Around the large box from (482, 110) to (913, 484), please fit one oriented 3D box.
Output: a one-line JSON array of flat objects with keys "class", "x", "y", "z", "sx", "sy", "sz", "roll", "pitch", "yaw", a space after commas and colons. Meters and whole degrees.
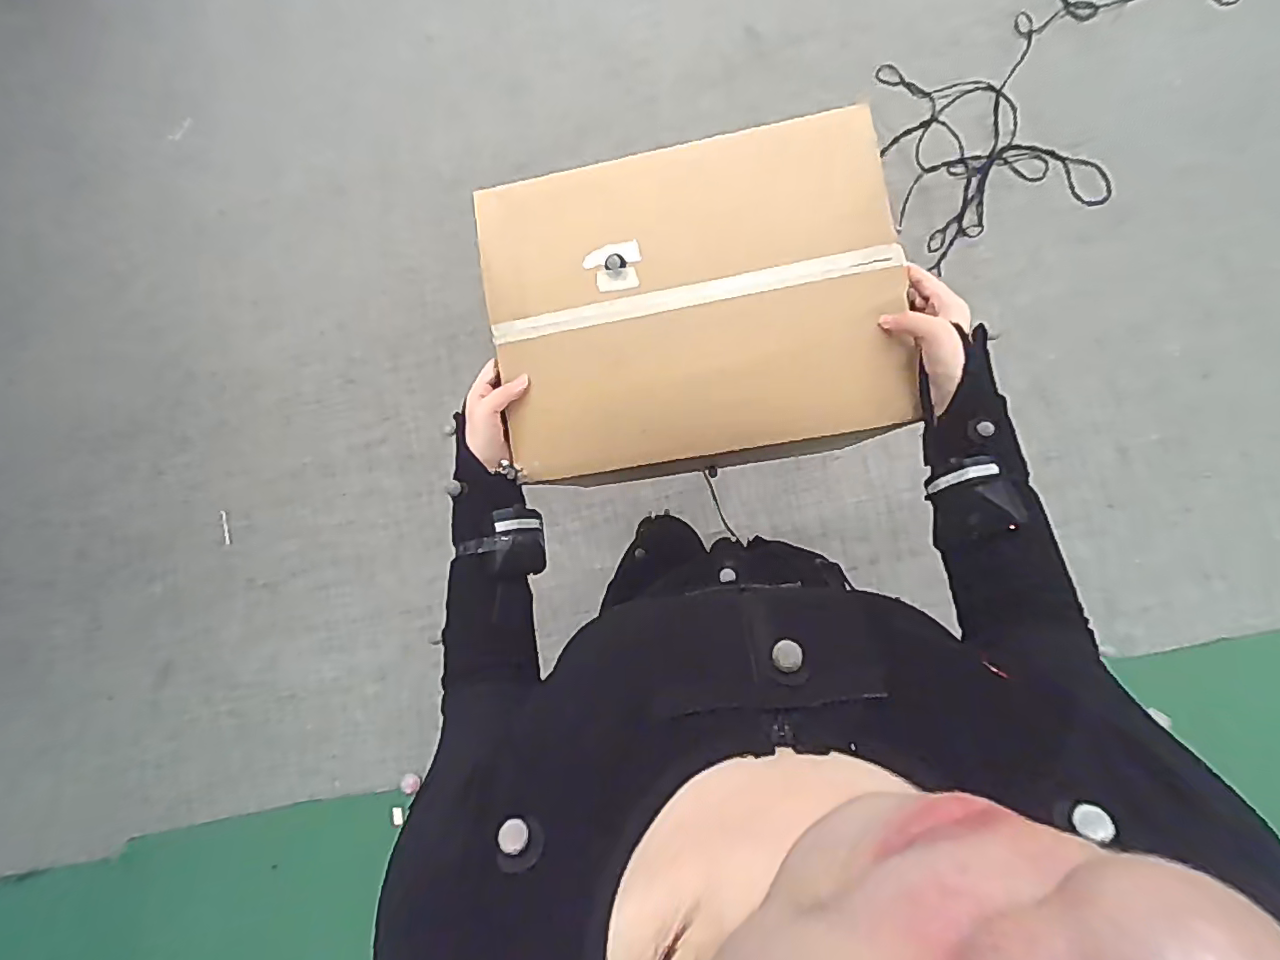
[{"class": "large box", "x": 0.068, "y": -0.179, "z": 0.698, "sx": 0.408, "sy": 0.320, "sz": 0.320, "roll": -10, "pitch": 87, "yaw": 8}]
